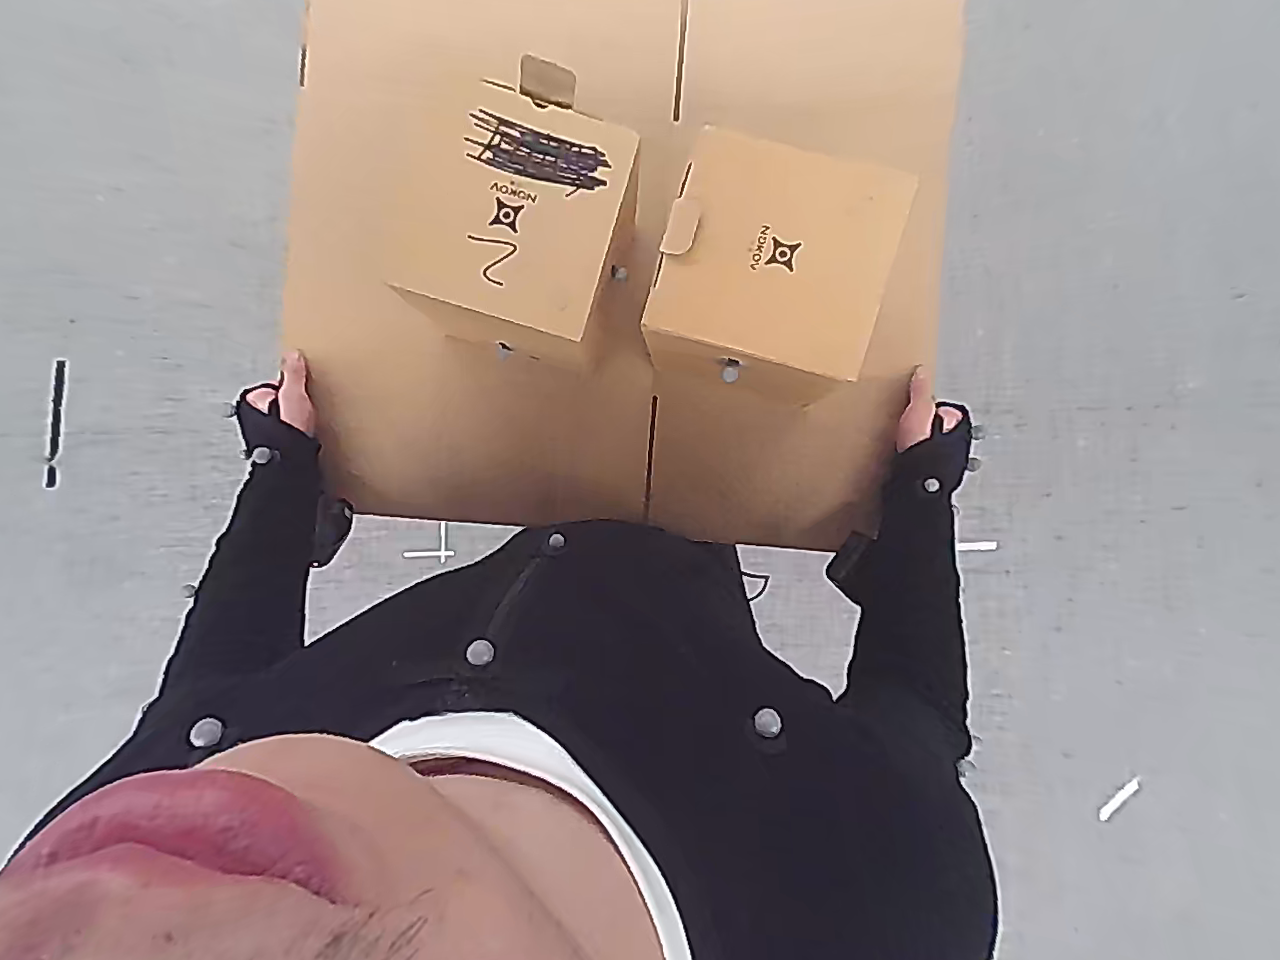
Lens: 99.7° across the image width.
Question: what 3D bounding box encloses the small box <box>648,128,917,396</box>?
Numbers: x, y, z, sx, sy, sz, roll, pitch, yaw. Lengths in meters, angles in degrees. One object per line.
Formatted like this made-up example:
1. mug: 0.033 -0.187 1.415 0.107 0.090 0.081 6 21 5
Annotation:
1. small box: 0.120 -0.184 0.512 0.179 0.176 0.168 17 92 6
